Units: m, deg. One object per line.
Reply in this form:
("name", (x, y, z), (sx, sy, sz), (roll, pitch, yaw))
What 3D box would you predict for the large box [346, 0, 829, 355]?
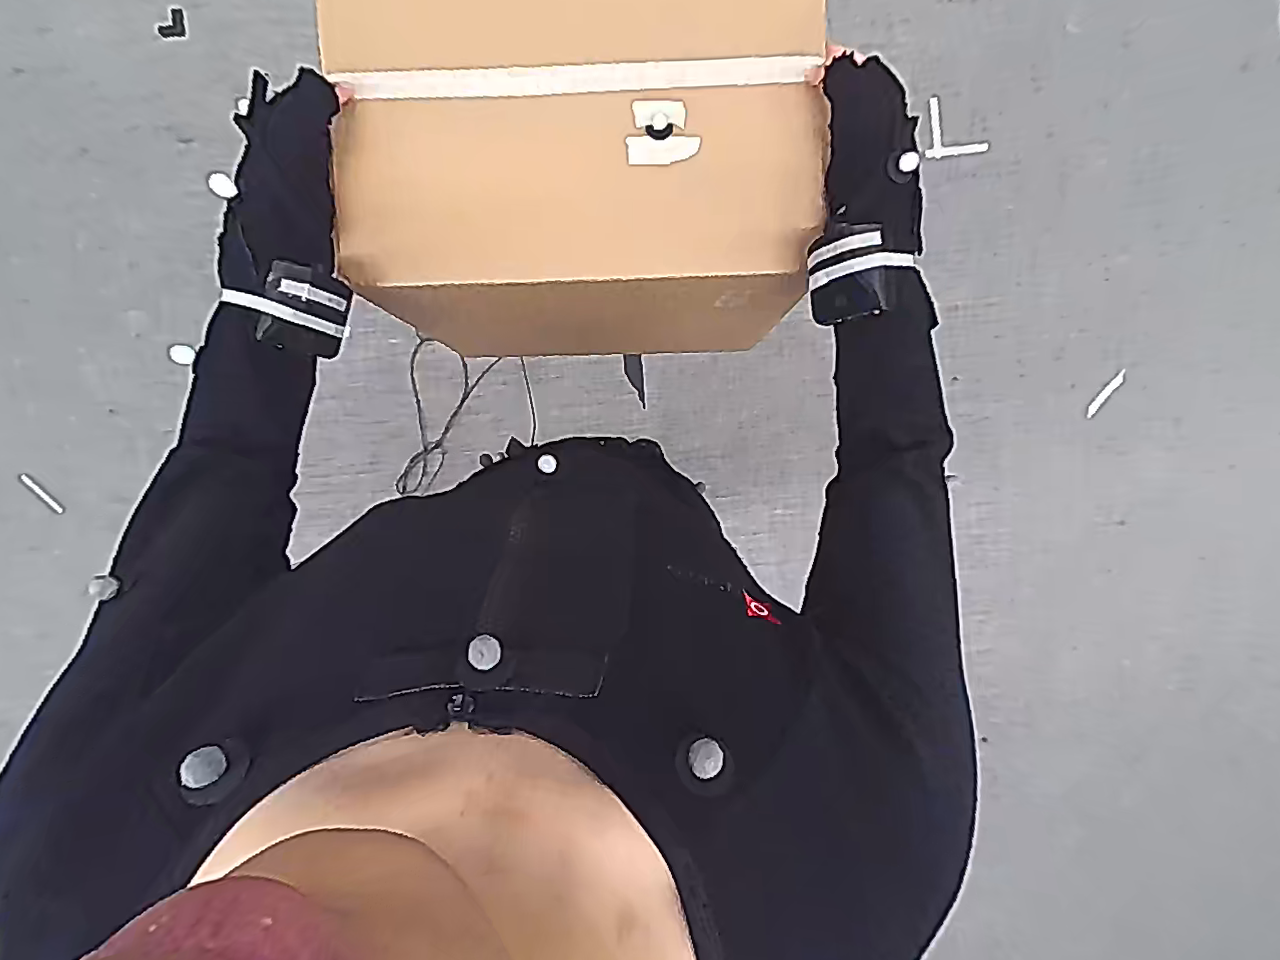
("large box", (-0.046, -0.332, 0.601), (0.408, 0.320, 0.320), (-2, 92, 0))
